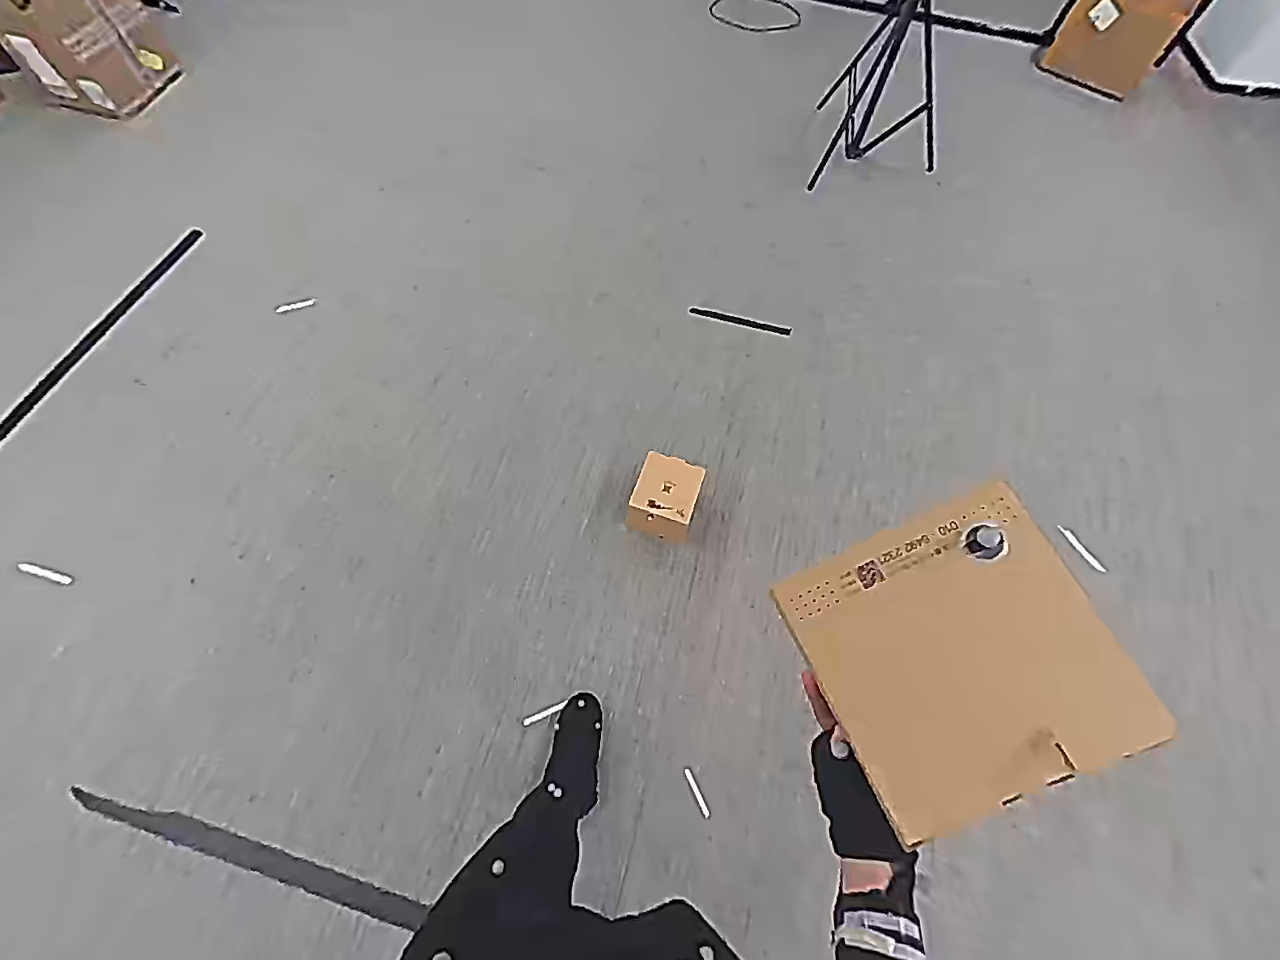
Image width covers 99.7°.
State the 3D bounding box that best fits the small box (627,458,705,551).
[{"bbox_3d":[0.067,0.071,1.505,0.168,0.176,0.179,19,63,6],"label":"small box"}]

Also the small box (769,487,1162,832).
[{"bbox_3d":[0.211,0.122,0.417,0.168,0.179,0.176,-26,72,5],"label":"small box"}]
